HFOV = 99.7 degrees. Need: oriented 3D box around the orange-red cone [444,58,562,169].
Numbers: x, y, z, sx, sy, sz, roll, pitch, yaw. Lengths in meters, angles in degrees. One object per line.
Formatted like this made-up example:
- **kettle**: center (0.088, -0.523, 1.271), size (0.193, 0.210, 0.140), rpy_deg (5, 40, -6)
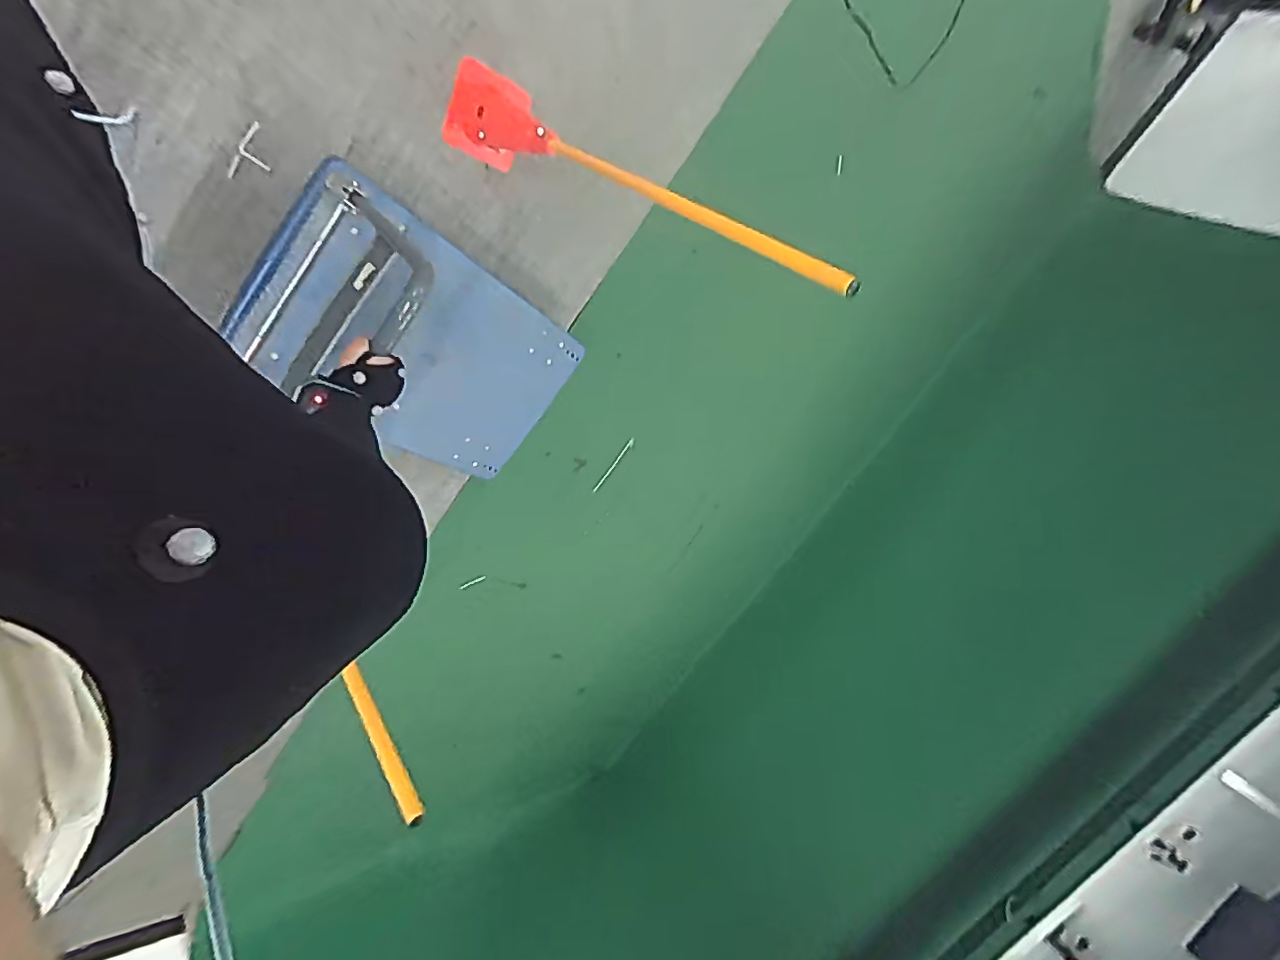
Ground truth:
- **orange-red cone**: center (-0.295, -0.848, 1.302), size (0.198, 0.360, 0.199), rpy_deg (3, 121, -47)
